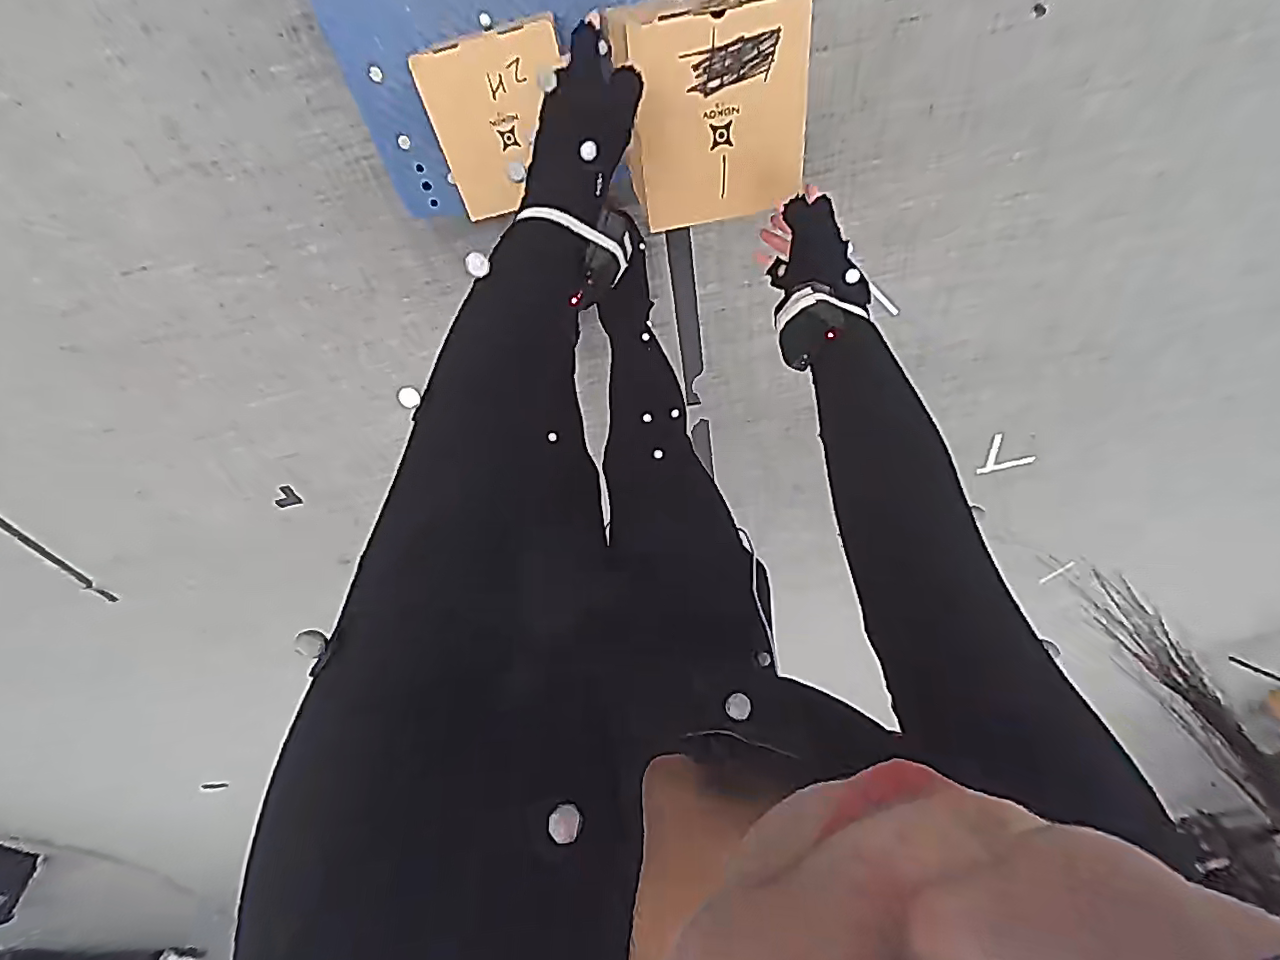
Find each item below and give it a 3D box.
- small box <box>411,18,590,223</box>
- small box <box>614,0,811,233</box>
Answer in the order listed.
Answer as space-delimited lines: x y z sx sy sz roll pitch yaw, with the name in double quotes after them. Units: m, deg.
-0.165 -0.467 0.702 0.168 0.176 0.179 -13 133 3 "small box"
0.069 -0.394 0.579 0.168 0.176 0.179 -10 134 1 "small box"
